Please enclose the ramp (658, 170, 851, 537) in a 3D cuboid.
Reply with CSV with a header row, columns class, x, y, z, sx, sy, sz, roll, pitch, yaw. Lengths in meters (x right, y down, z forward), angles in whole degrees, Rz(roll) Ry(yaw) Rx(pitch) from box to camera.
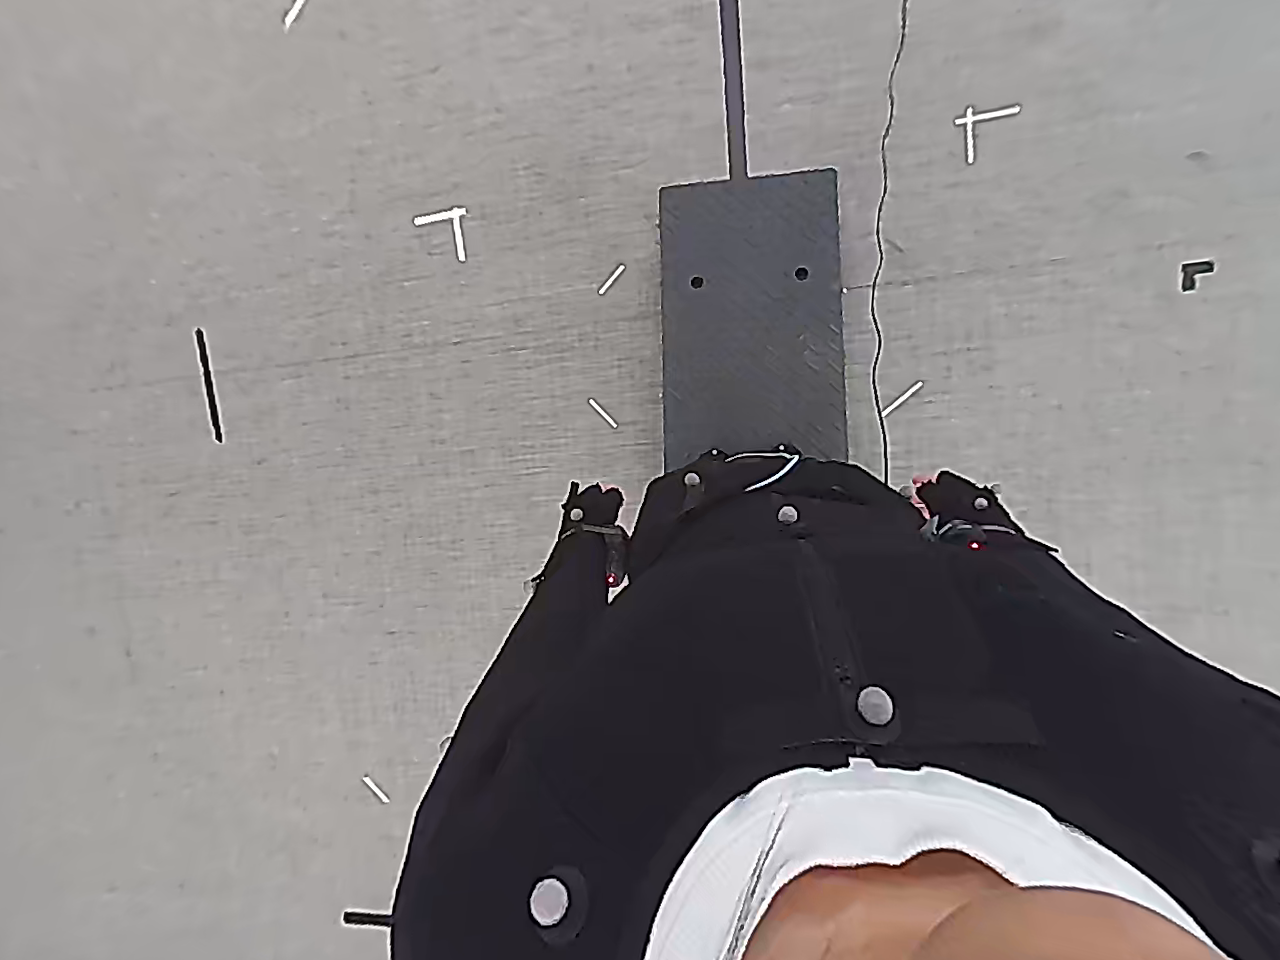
class,x,y,z,sx,sy,sz,roll,pitch,yaw
ramp,0.299,-0.345,1.486,0.509,0.206,0.991,-3,95,11
